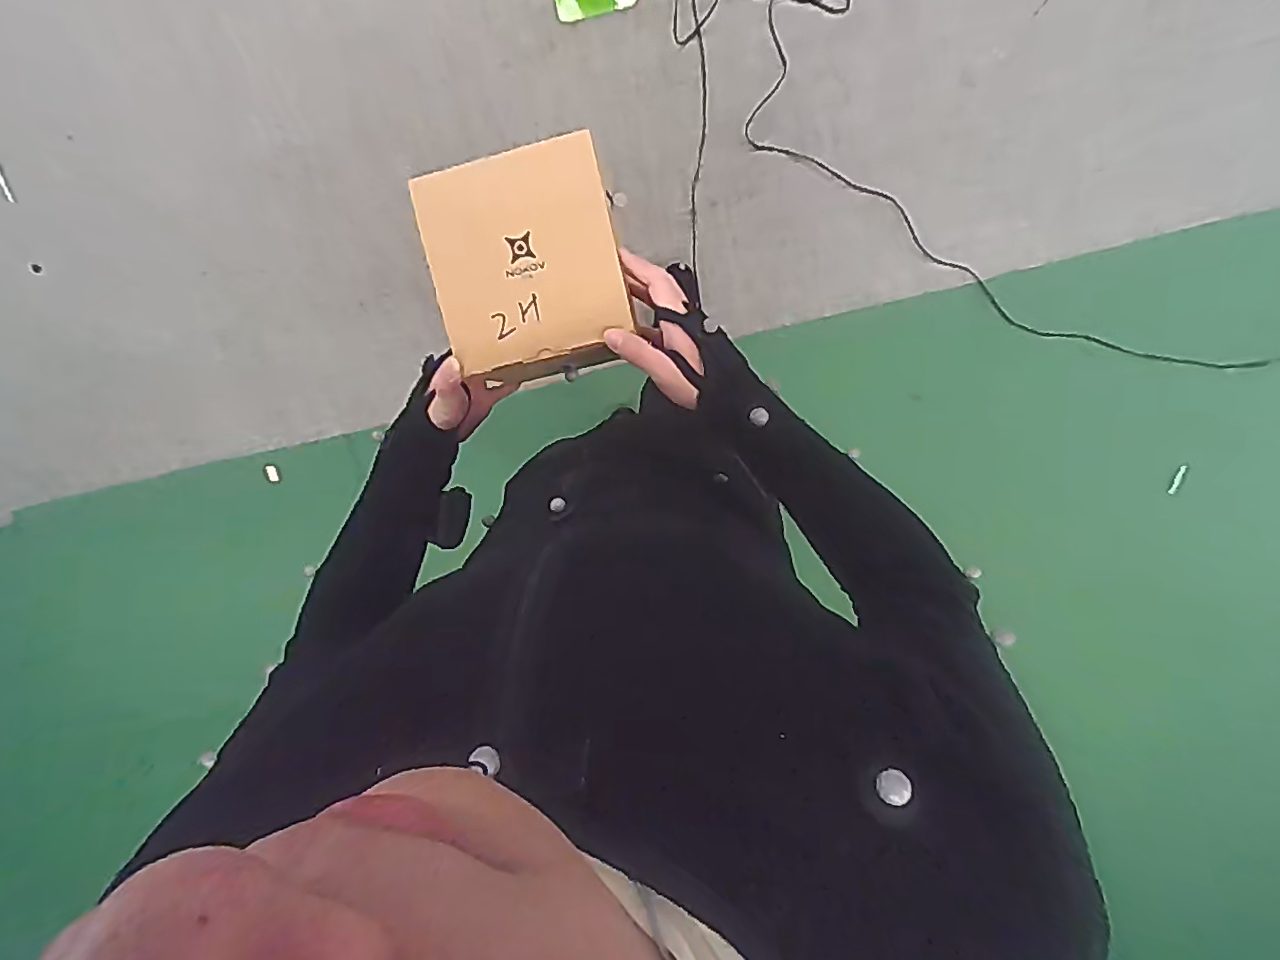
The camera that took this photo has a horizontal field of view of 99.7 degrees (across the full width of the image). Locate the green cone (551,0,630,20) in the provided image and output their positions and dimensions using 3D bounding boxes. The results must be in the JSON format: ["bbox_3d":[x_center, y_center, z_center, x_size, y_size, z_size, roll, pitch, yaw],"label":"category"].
[{"bbox_3d":[-0.131,-1.186,1.124,0.202,0.368,0.200,-12,104,4],"label":"green cone"}]
